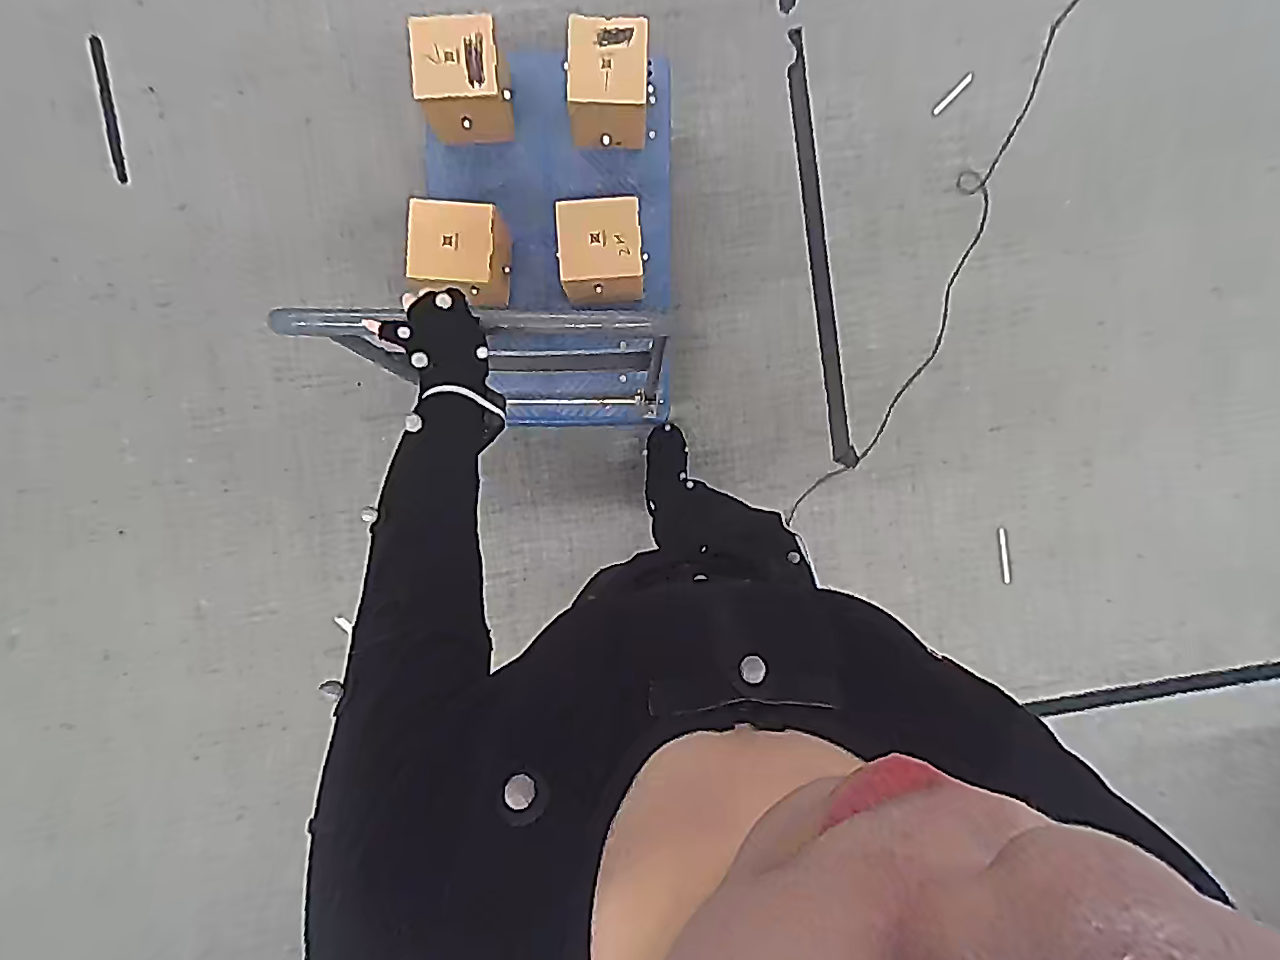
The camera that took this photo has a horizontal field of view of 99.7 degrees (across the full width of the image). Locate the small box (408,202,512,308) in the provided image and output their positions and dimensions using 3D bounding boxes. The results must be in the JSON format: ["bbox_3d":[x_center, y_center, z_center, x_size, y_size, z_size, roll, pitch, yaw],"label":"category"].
[{"bbox_3d":[-0.393,-0.491,1.202,0.179,0.176,0.168,3,91,-2],"label":"small box"}]

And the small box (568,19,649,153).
[{"bbox_3d":[-0.068,-0.863,1.195,0.168,0.176,0.179,1,93,0],"label":"small box"}]

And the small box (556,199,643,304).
[{"bbox_3d":[-0.084,-0.499,1.204,0.179,0.176,0.168,-4,92,0],"label":"small box"}]
